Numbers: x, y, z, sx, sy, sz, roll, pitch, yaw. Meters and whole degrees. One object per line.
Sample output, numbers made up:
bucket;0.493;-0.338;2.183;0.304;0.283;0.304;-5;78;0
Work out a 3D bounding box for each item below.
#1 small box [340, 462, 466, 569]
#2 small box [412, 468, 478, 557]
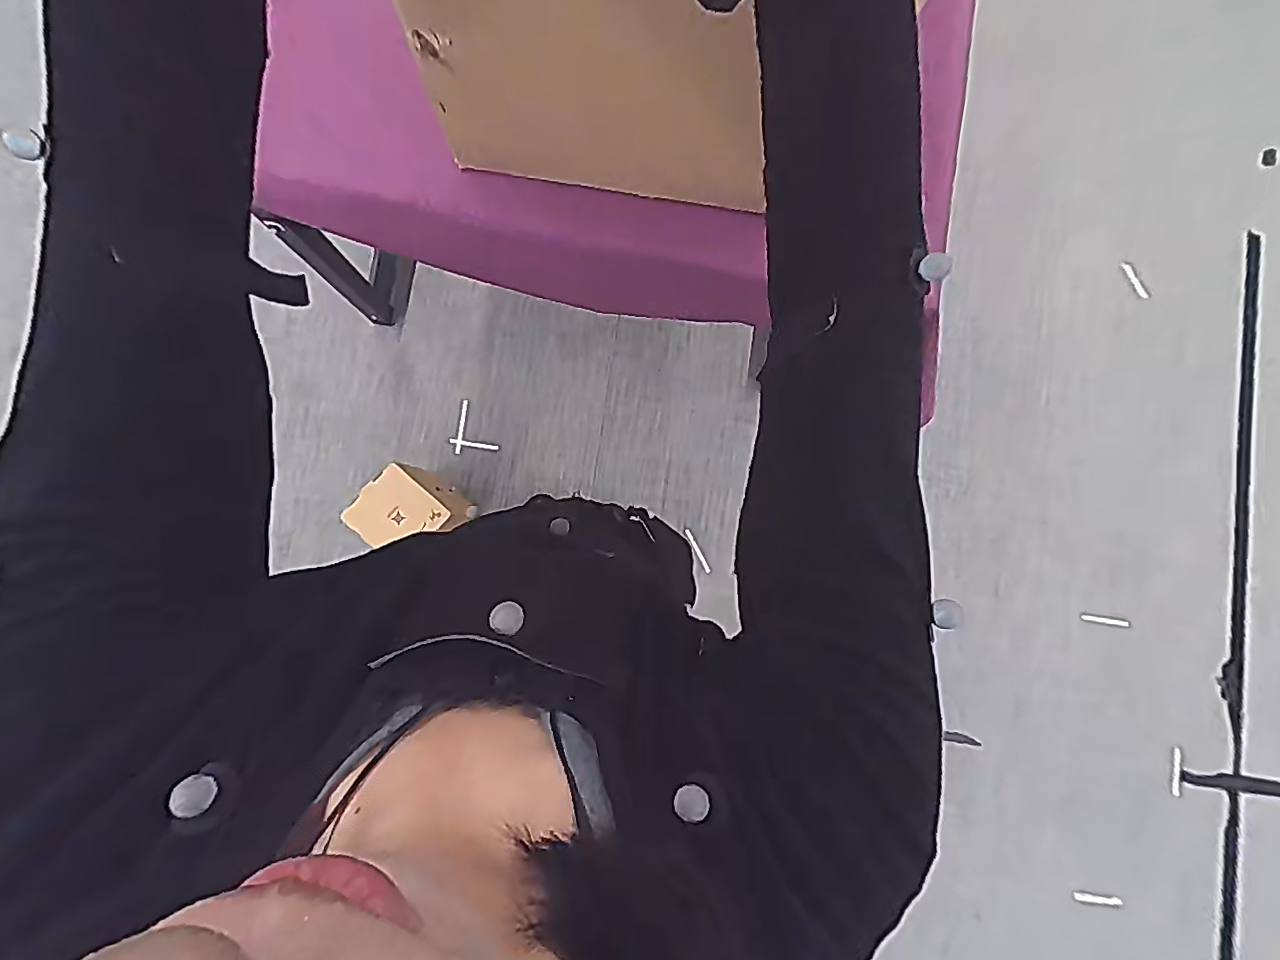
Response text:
small box;-0.531;0.084;1.237;0.179;0.176;0.168;42;83;-1
small box;-0.549;0.092;1.400;0.179;0.176;0.168;40;83;-2
